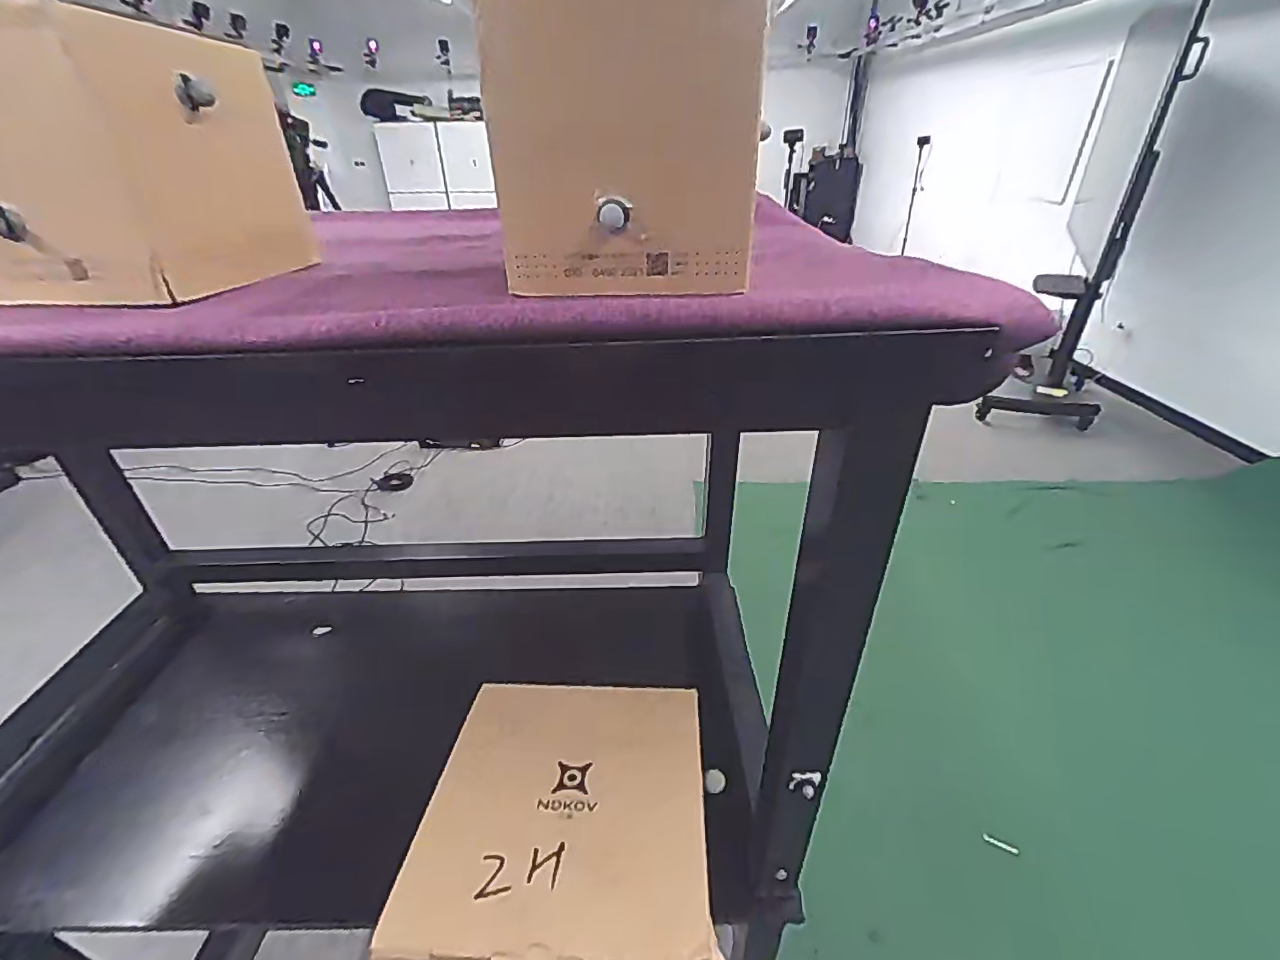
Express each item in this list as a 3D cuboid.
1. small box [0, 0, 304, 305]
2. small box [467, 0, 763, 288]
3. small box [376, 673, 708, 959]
[{"bbox_3d":[-0.393,-0.239,0.409,0.168,0.176,0.179,1,32,4],"label":"small box"},{"bbox_3d":[-0.007,-0.247,0.394,0.168,0.176,0.179,1,33,6],"label":"small box"},{"bbox_3d":[-0.041,0.257,0.364,0.168,0.176,0.179,-1,24,5],"label":"small box"}]
